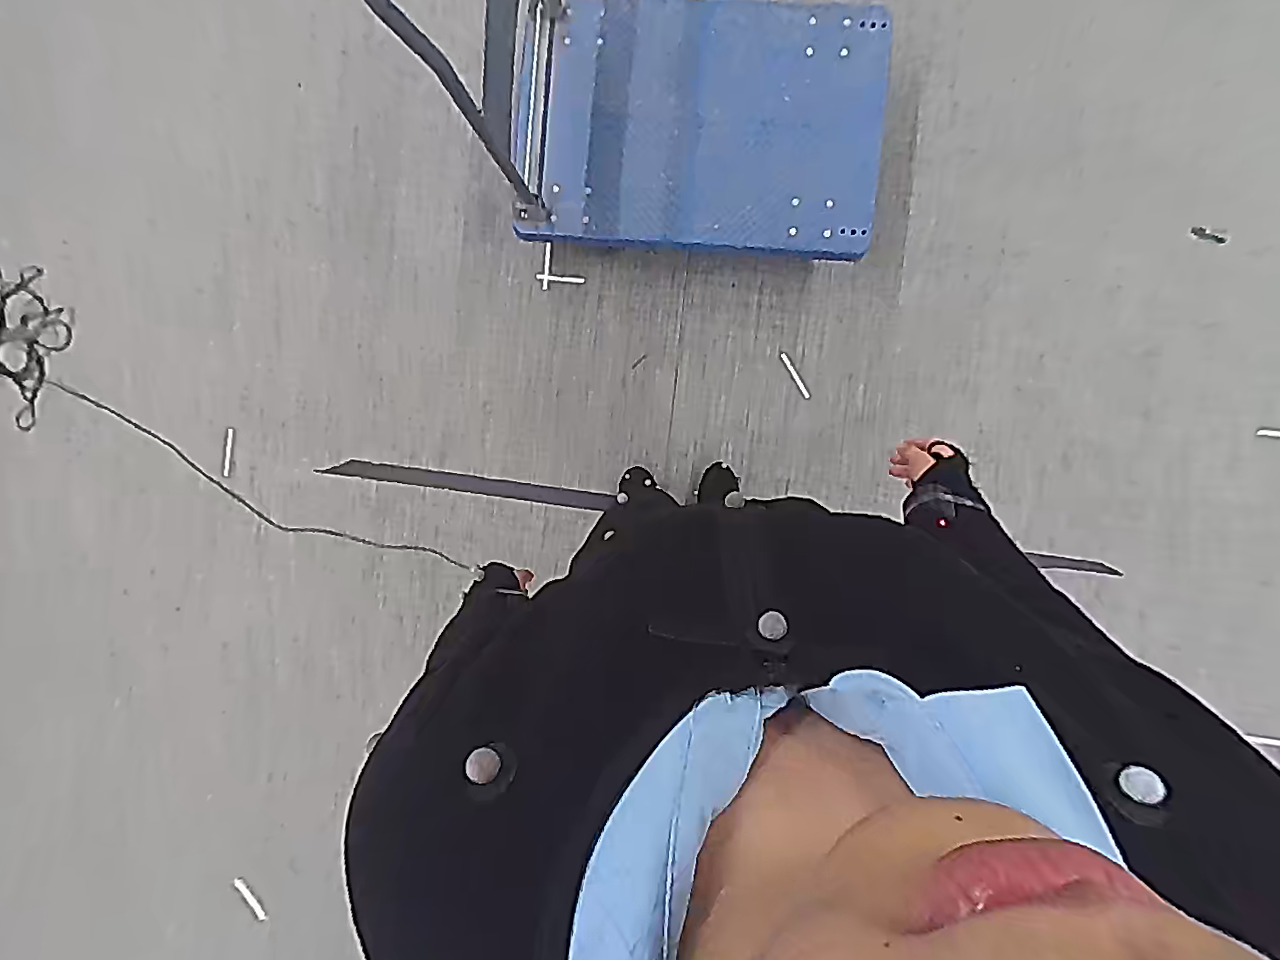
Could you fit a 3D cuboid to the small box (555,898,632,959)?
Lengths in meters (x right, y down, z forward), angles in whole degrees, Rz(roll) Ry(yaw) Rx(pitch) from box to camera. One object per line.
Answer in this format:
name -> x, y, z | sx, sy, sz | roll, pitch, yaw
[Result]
small box -> -0.114, 1.154, 1.285 | 0.168, 0.176, 0.179 | 7, 91, 3
